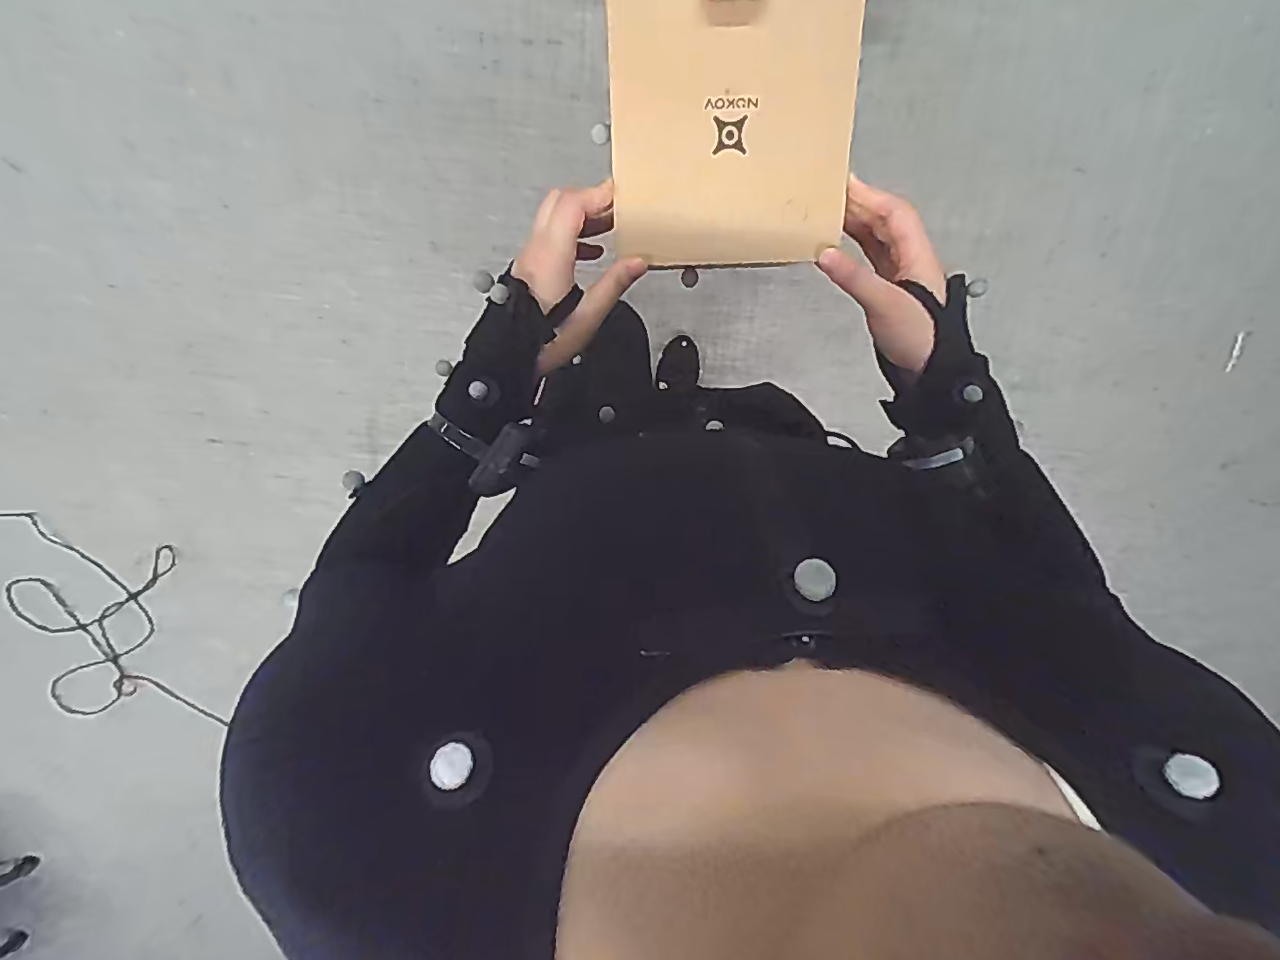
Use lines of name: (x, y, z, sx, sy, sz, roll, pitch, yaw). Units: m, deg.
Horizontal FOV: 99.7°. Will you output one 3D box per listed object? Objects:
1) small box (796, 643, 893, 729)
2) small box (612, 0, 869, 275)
small box: (0.525, 0.542, 1.410, 0.179, 0.176, 0.168, 3, 105, -1)
small box: (0.067, -0.263, 0.442, 0.168, 0.176, 0.179, -1, 109, 2)
